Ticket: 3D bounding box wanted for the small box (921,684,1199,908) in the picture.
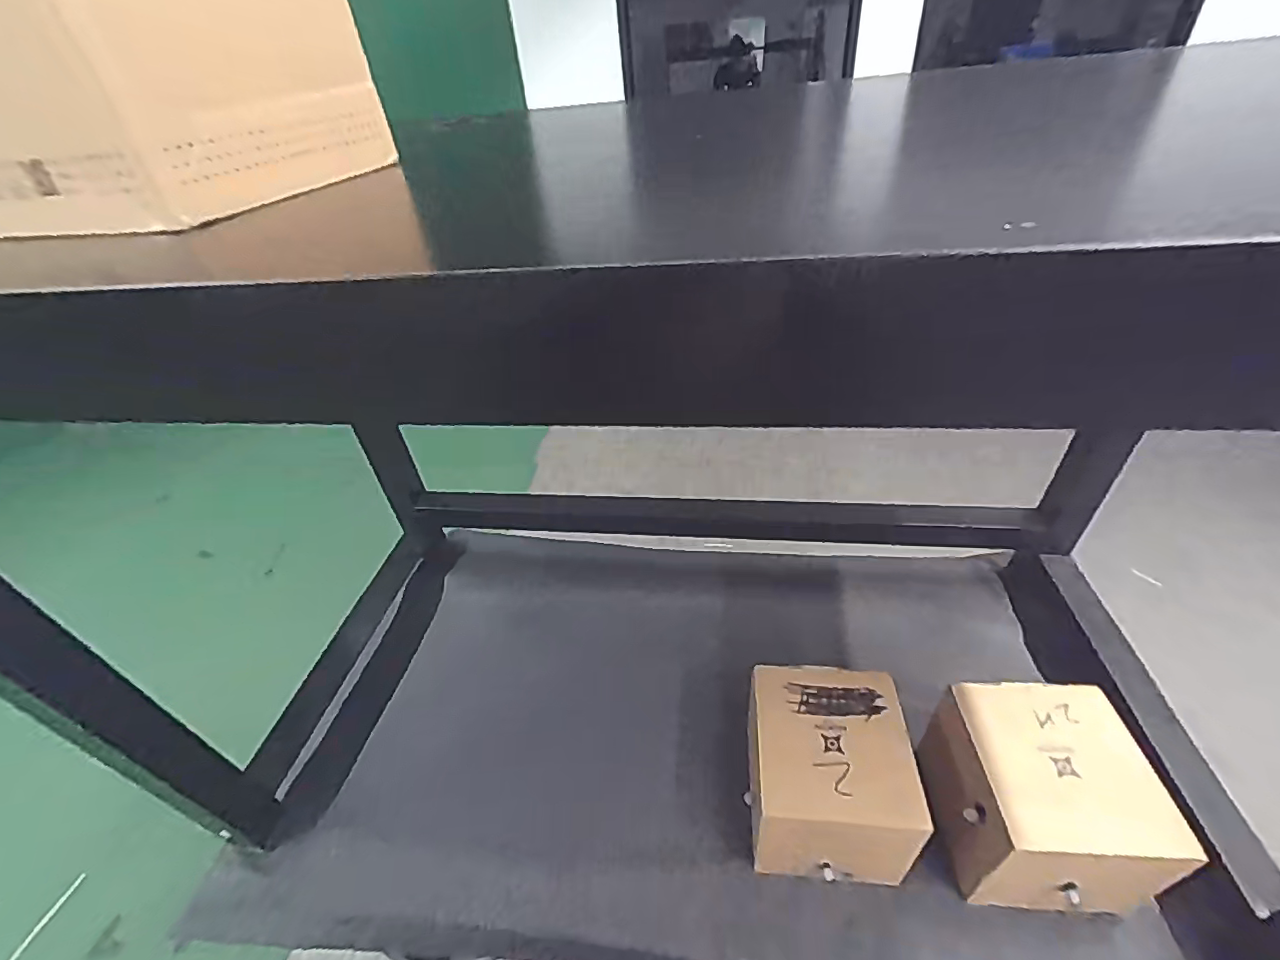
[{"bbox_3d":[0.447,0.358,0.617,0.168,0.176,0.179,-1,37,6],"label":"small box"}]
